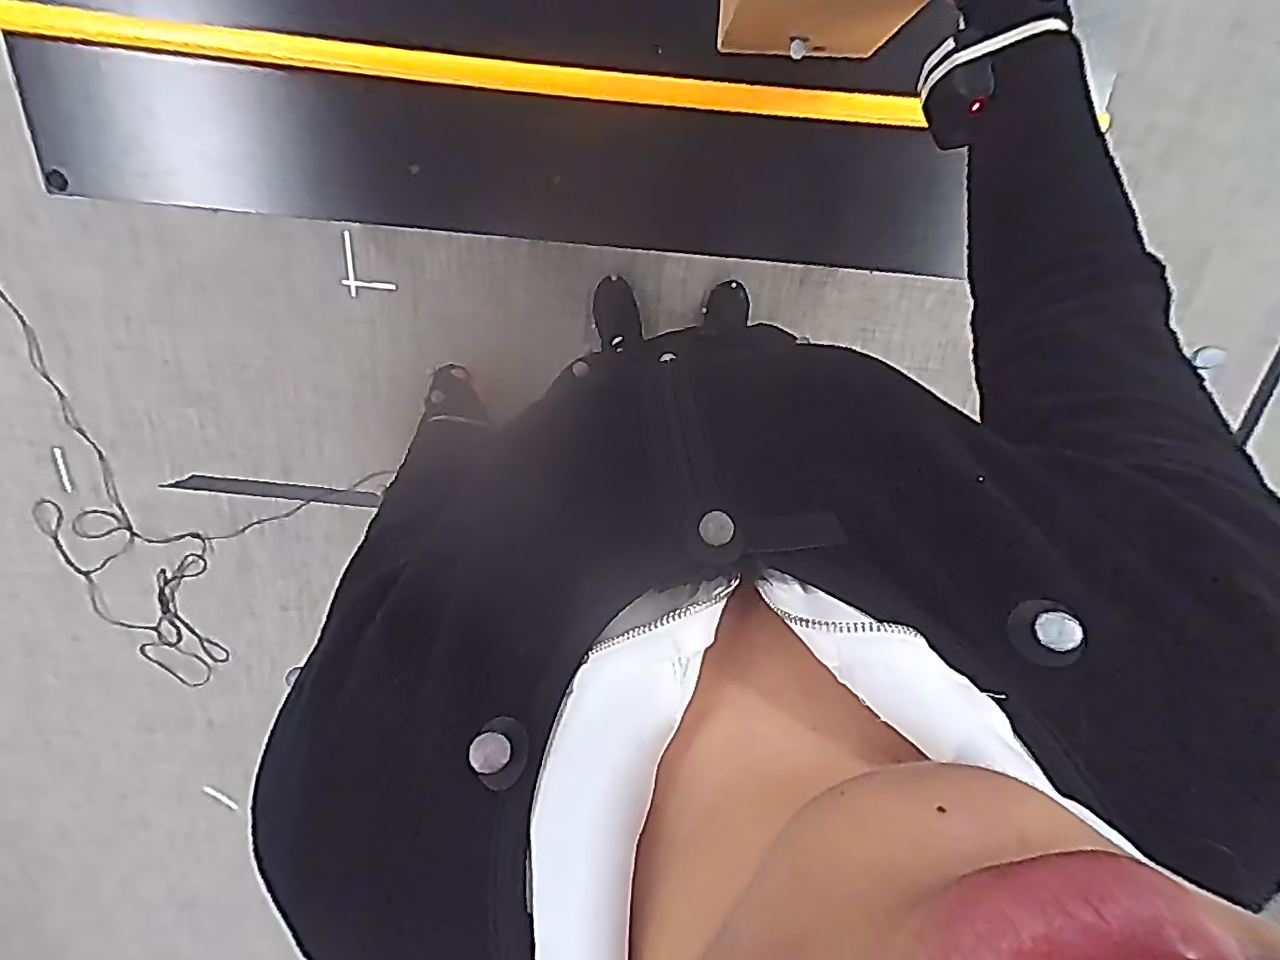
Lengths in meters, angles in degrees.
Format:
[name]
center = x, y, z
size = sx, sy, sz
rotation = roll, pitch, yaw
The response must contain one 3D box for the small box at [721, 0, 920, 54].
[small box]
center = 0.169, -0.521, 0.483
size = 0.168, 0.176, 0.179
rotation = 2, 112, -1
